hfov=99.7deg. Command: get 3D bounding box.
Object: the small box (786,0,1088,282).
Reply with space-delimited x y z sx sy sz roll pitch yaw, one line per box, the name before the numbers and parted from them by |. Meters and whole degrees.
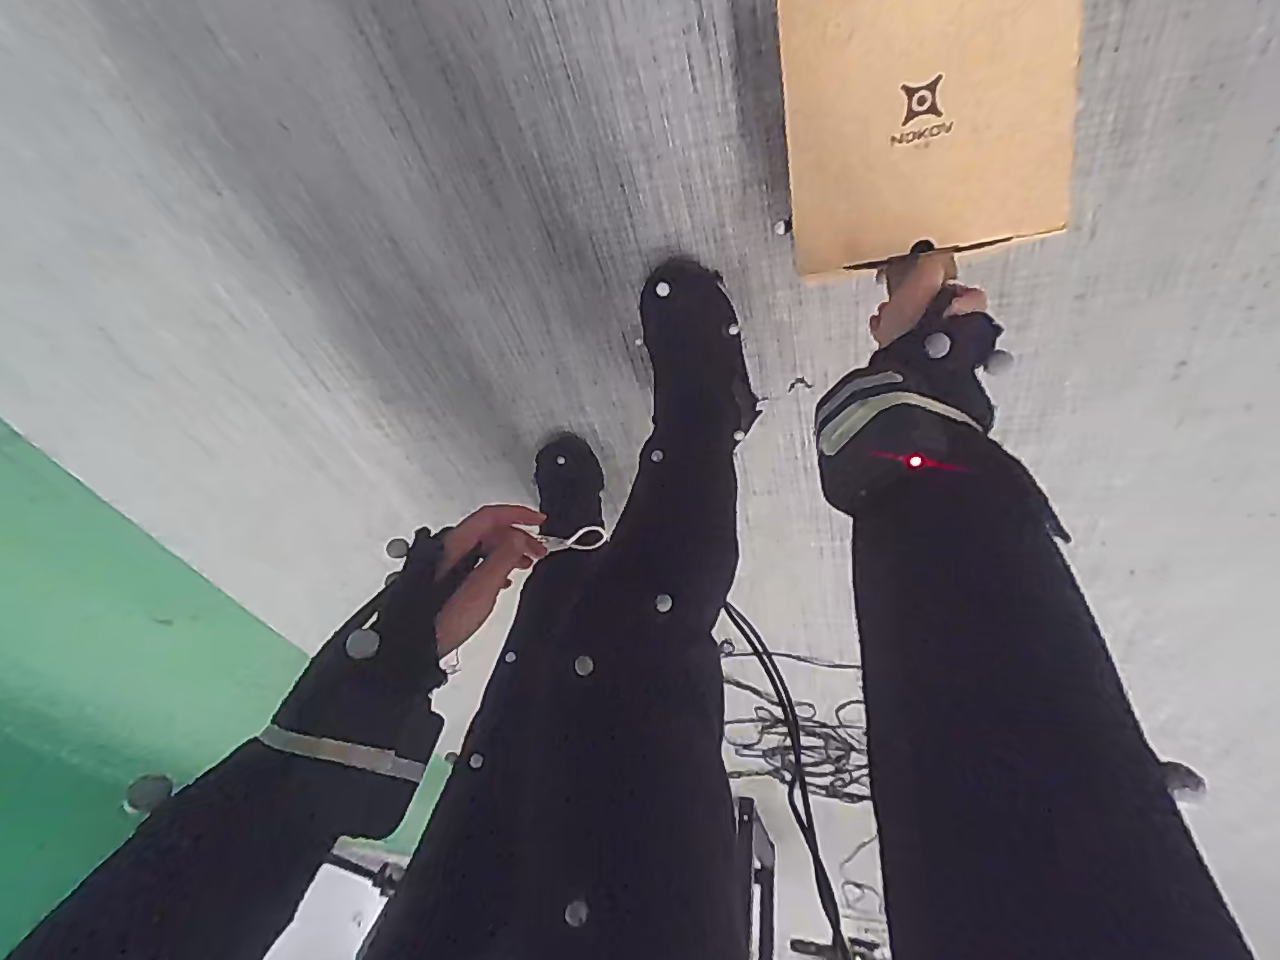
small box | 0.202 -0.259 0.409 0.168 0.176 0.179 -4 104 19
